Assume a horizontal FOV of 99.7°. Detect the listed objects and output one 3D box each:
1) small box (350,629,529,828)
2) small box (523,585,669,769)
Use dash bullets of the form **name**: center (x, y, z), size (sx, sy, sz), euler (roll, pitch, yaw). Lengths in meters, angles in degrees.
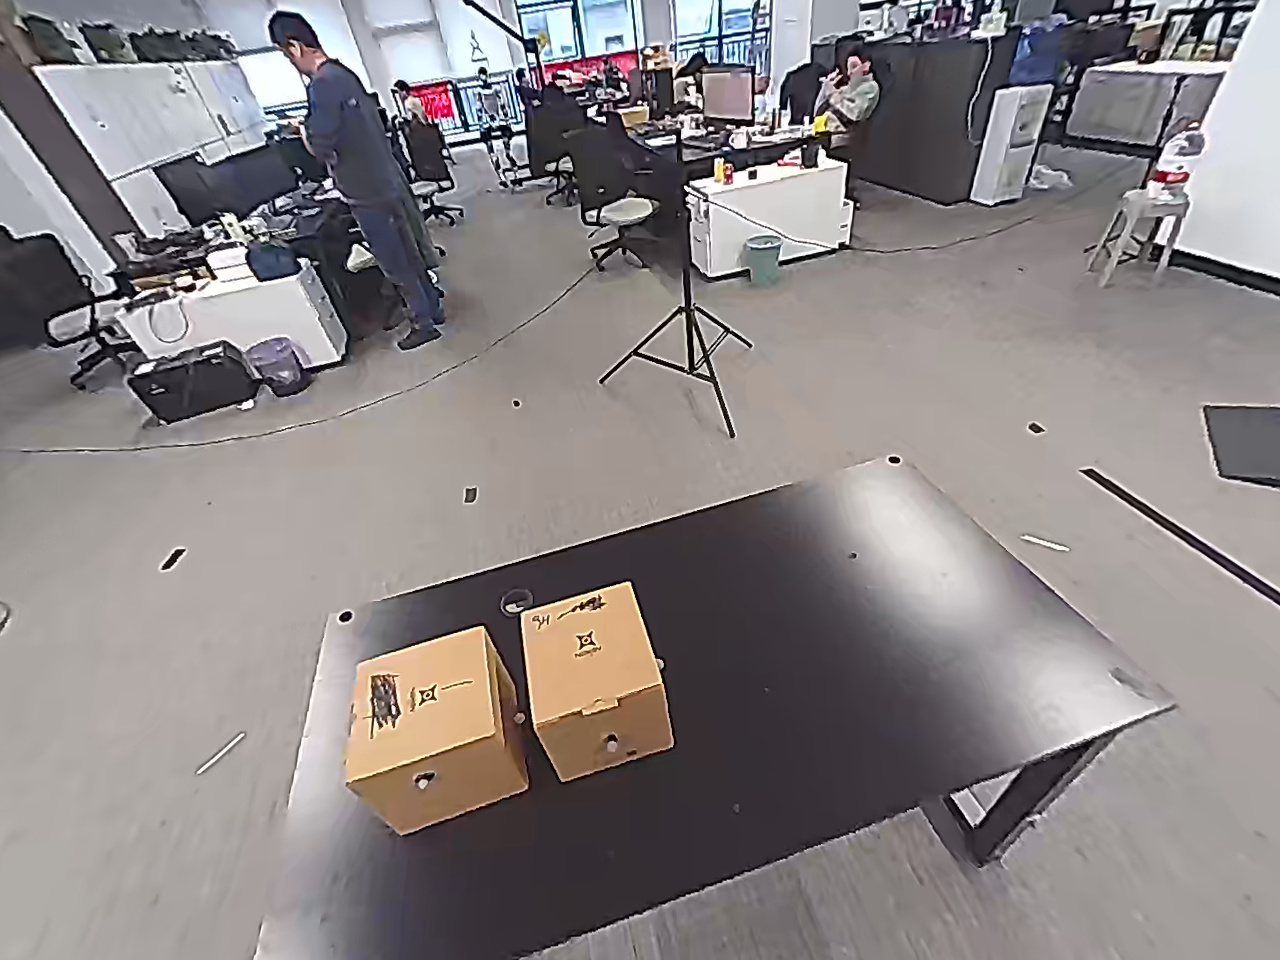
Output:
- **small box**: center (-0.267, 0.344, 0.748), size (0.179, 0.176, 0.168), euler (-16, 40, -10)
- **small box**: center (-0.062, 0.287, 0.776), size (0.168, 0.176, 0.179), euler (-14, 41, -7)
